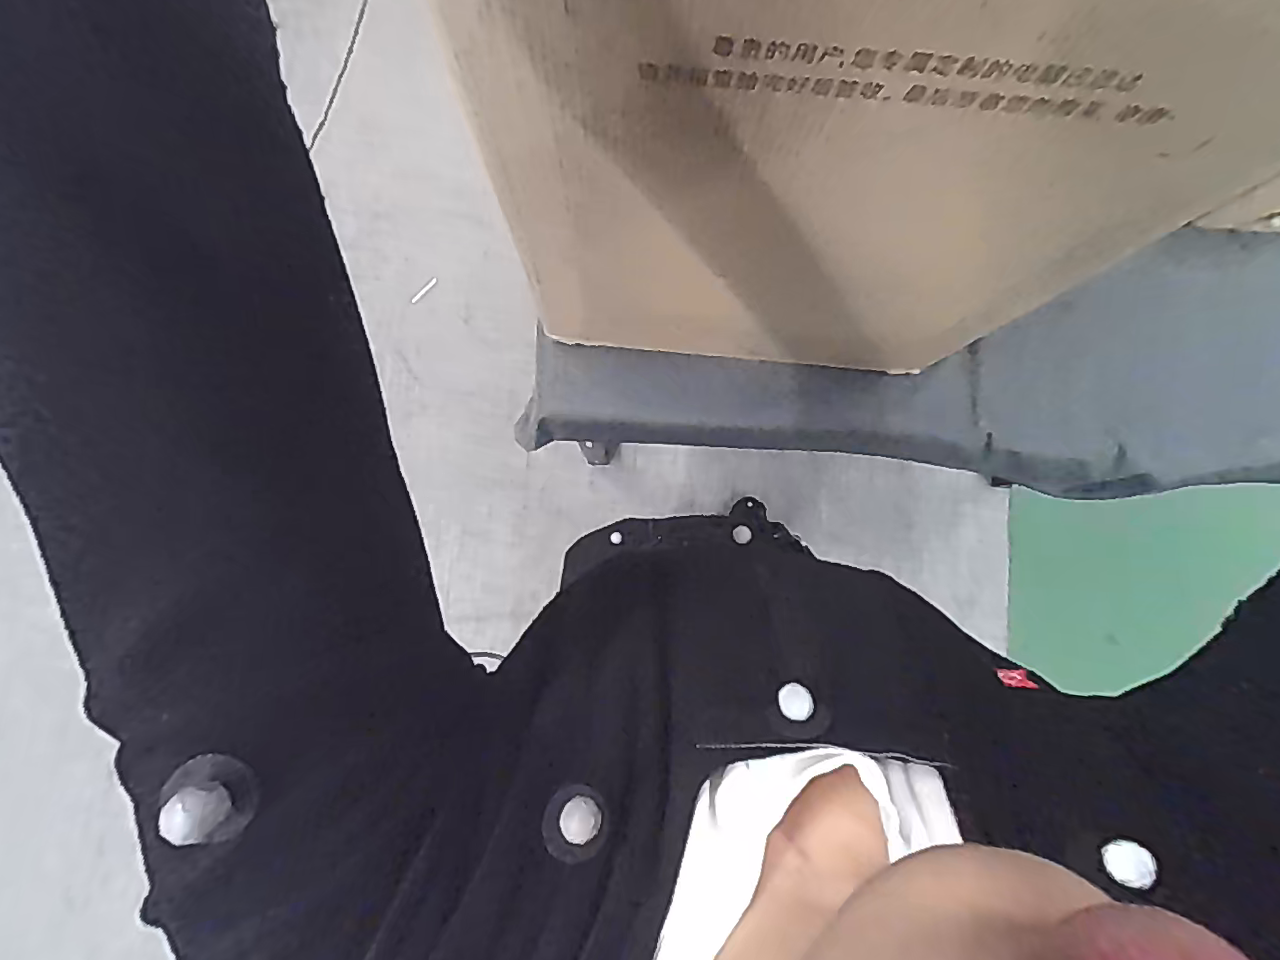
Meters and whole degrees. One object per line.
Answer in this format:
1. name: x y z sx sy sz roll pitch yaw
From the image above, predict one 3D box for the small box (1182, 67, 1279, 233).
1. small box: 0.920 -0.466 0.749 0.179 0.176 0.168 4 85 -2
